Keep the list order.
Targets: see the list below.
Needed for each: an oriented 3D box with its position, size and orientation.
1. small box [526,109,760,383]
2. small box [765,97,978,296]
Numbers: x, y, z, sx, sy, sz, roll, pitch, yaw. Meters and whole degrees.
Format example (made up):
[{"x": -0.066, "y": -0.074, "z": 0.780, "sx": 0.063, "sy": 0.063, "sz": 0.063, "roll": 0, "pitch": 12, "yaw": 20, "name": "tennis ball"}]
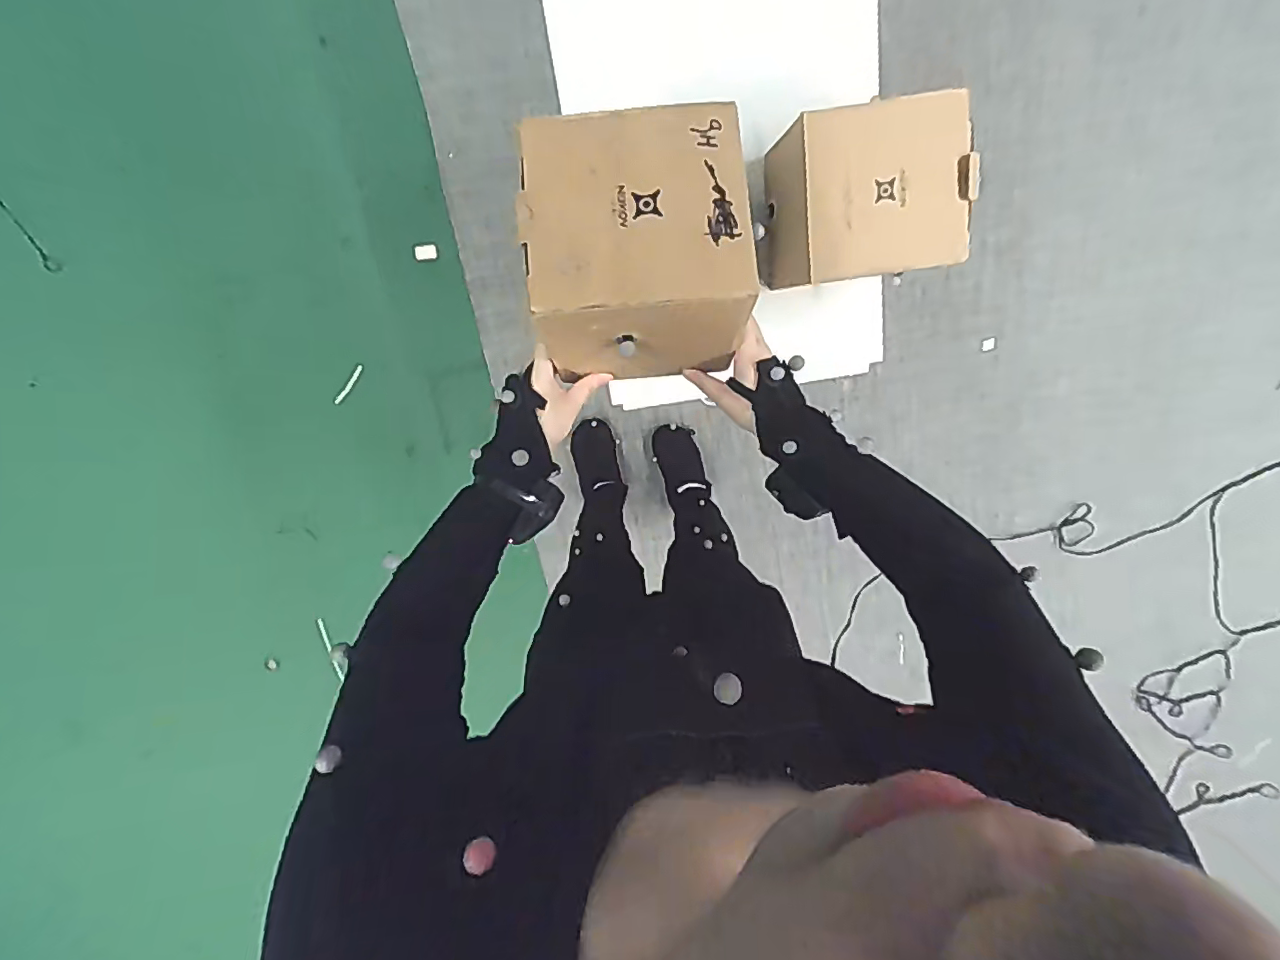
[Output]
[{"x": 0.003, "y": -0.196, "z": 0.499, "sx": 0.179, "sy": 0.176, "sz": 0.168, "roll": -5, "pitch": 81, "yaw": 1, "name": "small box"}, {"x": 0.258, "y": -0.315, "z": 0.636, "sx": 0.179, "sy": 0.176, "sz": 0.168, "roll": -9, "pitch": 106, "yaw": 2, "name": "small box"}]
